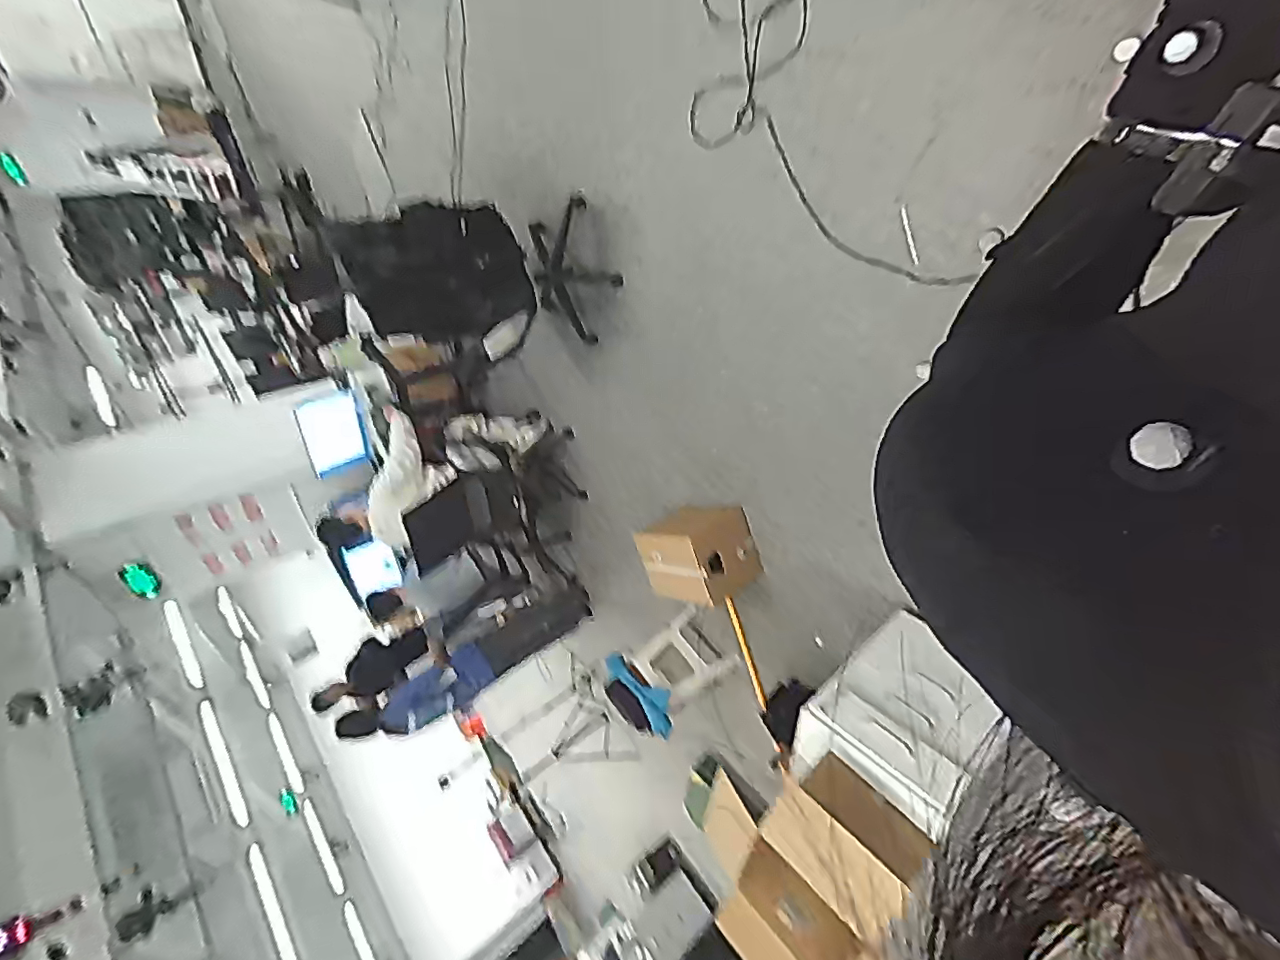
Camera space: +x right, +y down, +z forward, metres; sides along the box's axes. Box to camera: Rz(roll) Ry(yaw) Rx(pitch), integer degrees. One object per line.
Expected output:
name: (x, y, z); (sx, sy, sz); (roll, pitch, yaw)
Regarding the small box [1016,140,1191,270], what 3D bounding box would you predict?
small box: (0.880, -0.530, 1.029); (0.179, 0.176, 0.168); (46, 143, 26)
